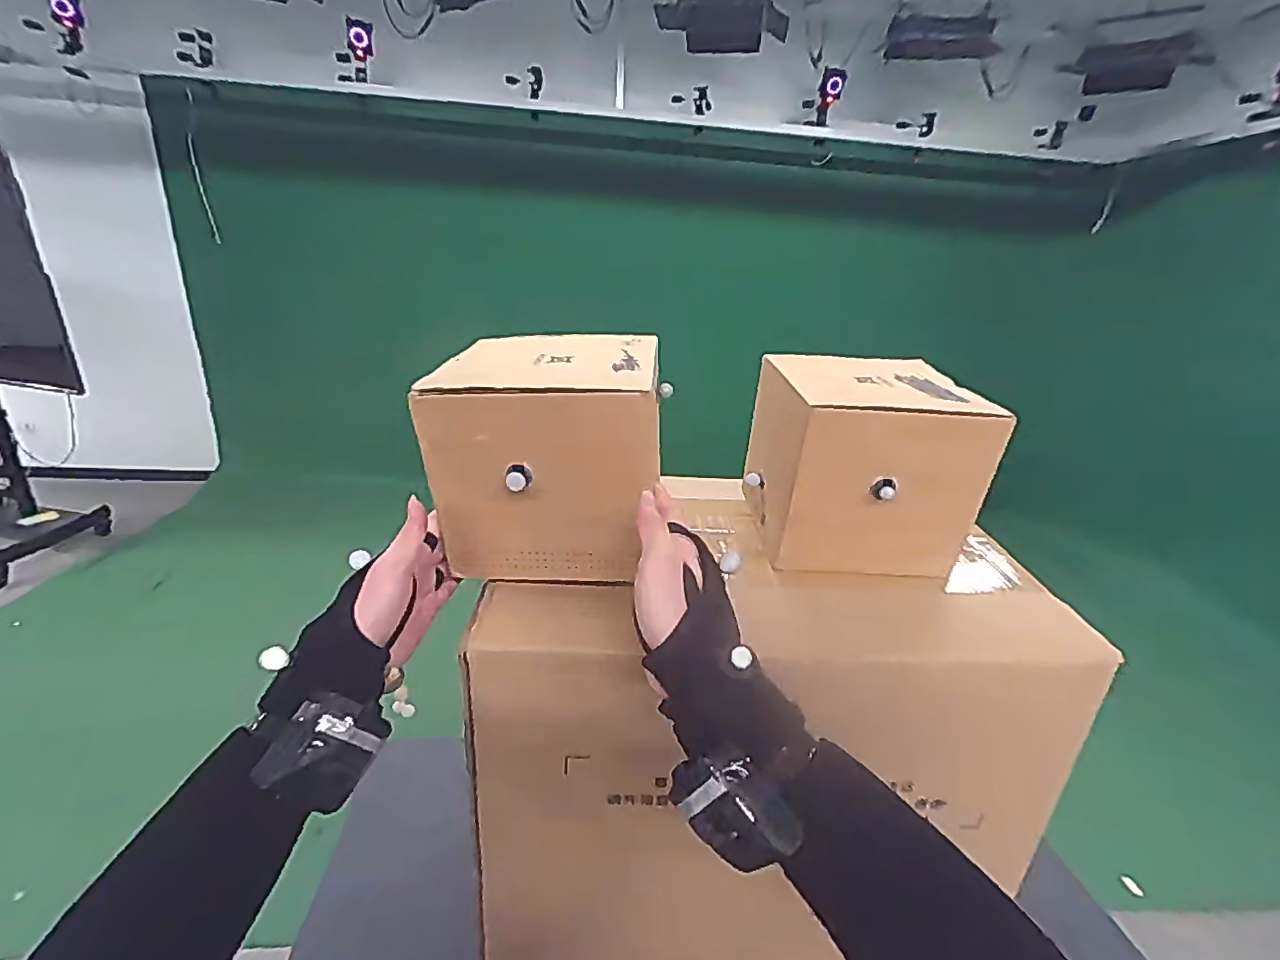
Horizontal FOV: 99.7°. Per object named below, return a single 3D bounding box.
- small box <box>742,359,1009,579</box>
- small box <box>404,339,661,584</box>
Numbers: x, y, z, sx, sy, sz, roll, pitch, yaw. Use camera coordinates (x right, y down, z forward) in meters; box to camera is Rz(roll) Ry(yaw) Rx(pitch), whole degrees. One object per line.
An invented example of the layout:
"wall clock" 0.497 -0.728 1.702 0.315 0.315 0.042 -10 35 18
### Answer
"small box" 0.213 -0.014 0.547 0.179 0.176 0.168 2 27 -2
"small box" -0.074 -0.021 0.484 0.179 0.176 0.168 -1 28 4
